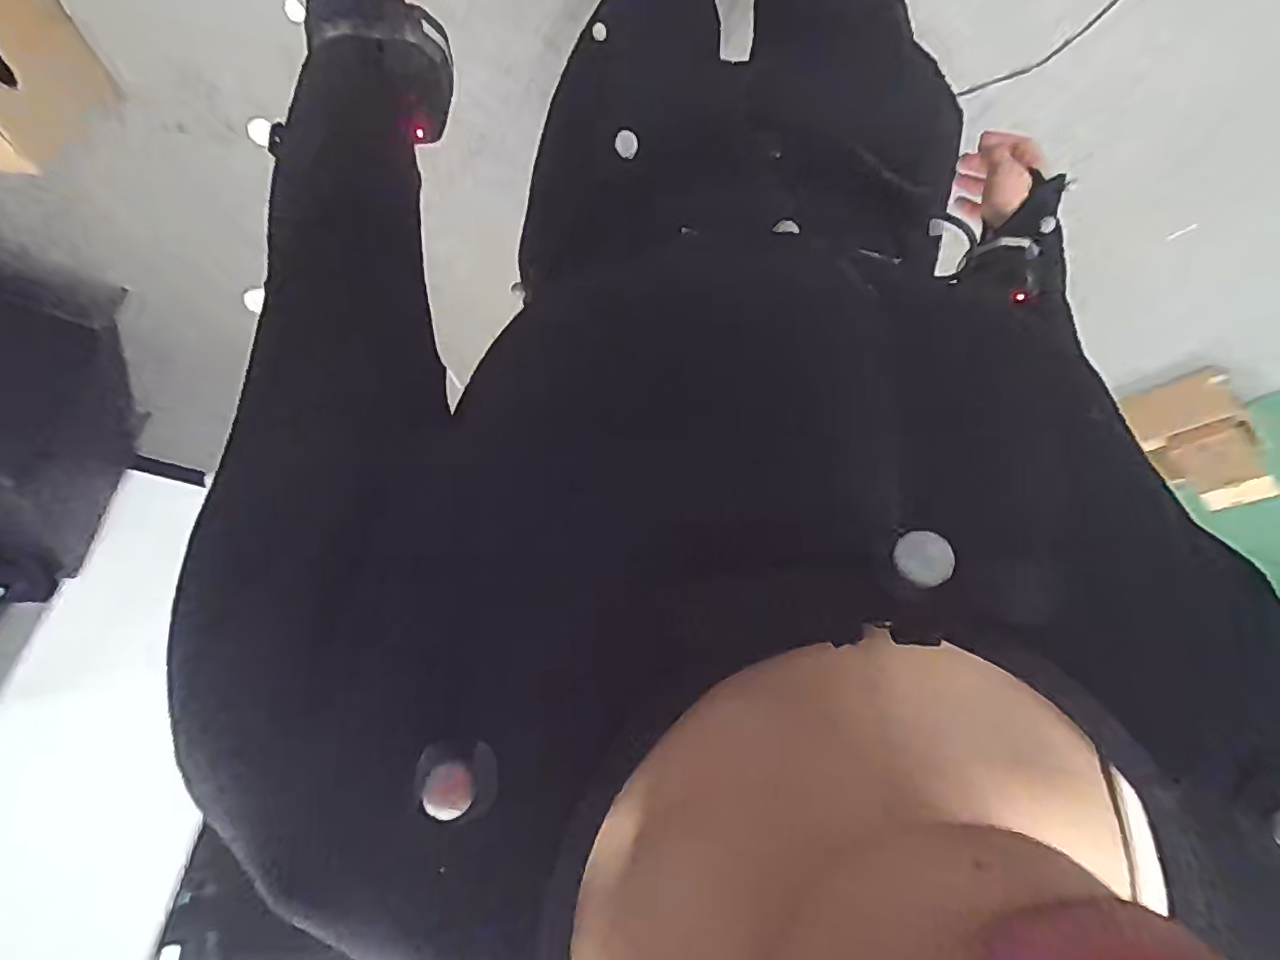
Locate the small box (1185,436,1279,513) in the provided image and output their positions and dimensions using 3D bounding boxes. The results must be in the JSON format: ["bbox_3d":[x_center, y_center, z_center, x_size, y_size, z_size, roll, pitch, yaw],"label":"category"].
[{"bbox_3d":[1.918,-0.020,1.745,0.179,0.176,0.168,25,144,-30],"label":"small box"}]
